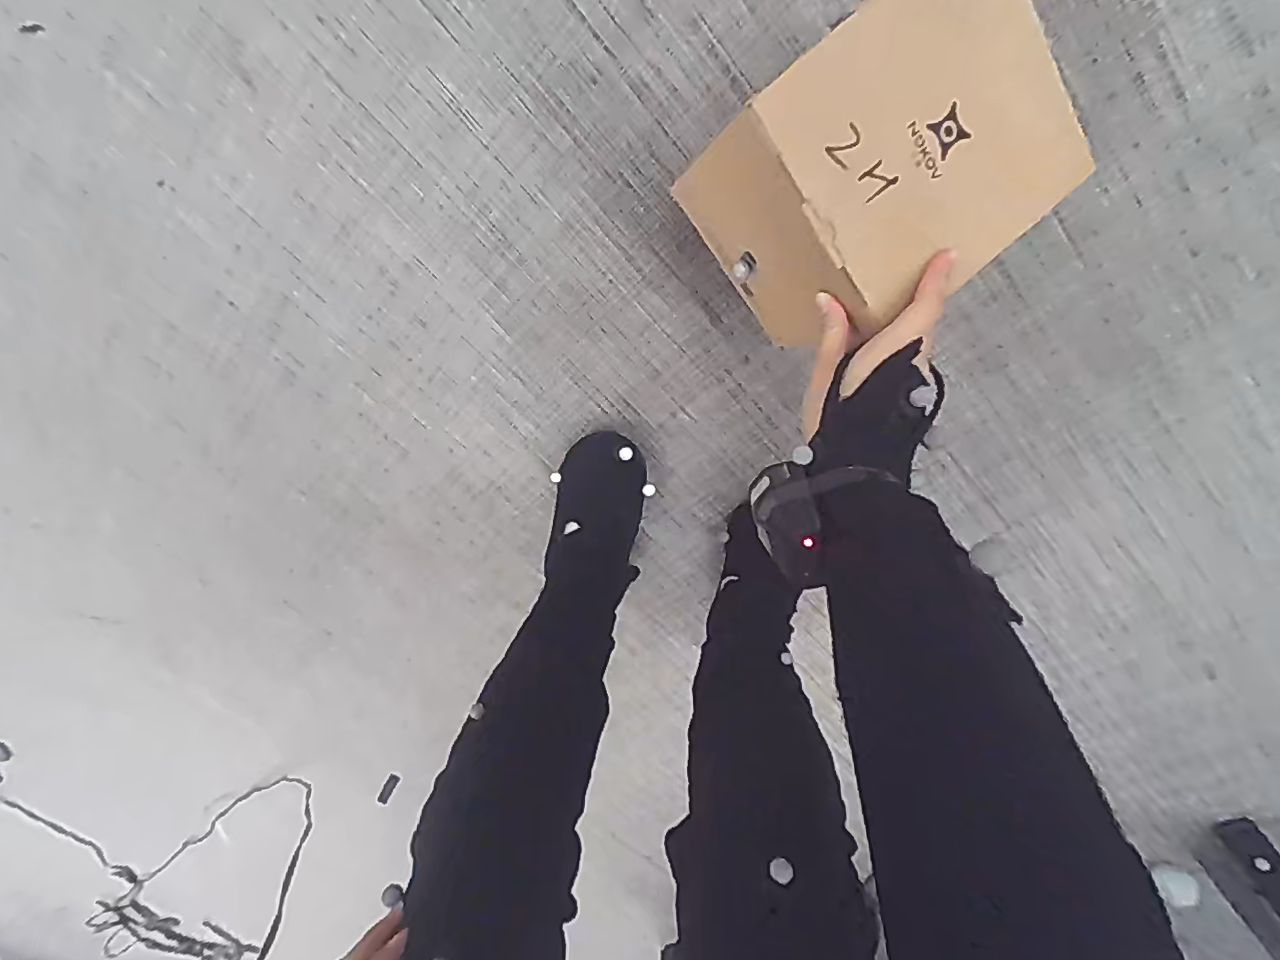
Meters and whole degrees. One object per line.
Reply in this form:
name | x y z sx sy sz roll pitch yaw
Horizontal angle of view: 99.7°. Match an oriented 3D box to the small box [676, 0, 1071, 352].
small box | 0.152 -0.216 0.405 0.179 0.176 0.168 -40 107 1
